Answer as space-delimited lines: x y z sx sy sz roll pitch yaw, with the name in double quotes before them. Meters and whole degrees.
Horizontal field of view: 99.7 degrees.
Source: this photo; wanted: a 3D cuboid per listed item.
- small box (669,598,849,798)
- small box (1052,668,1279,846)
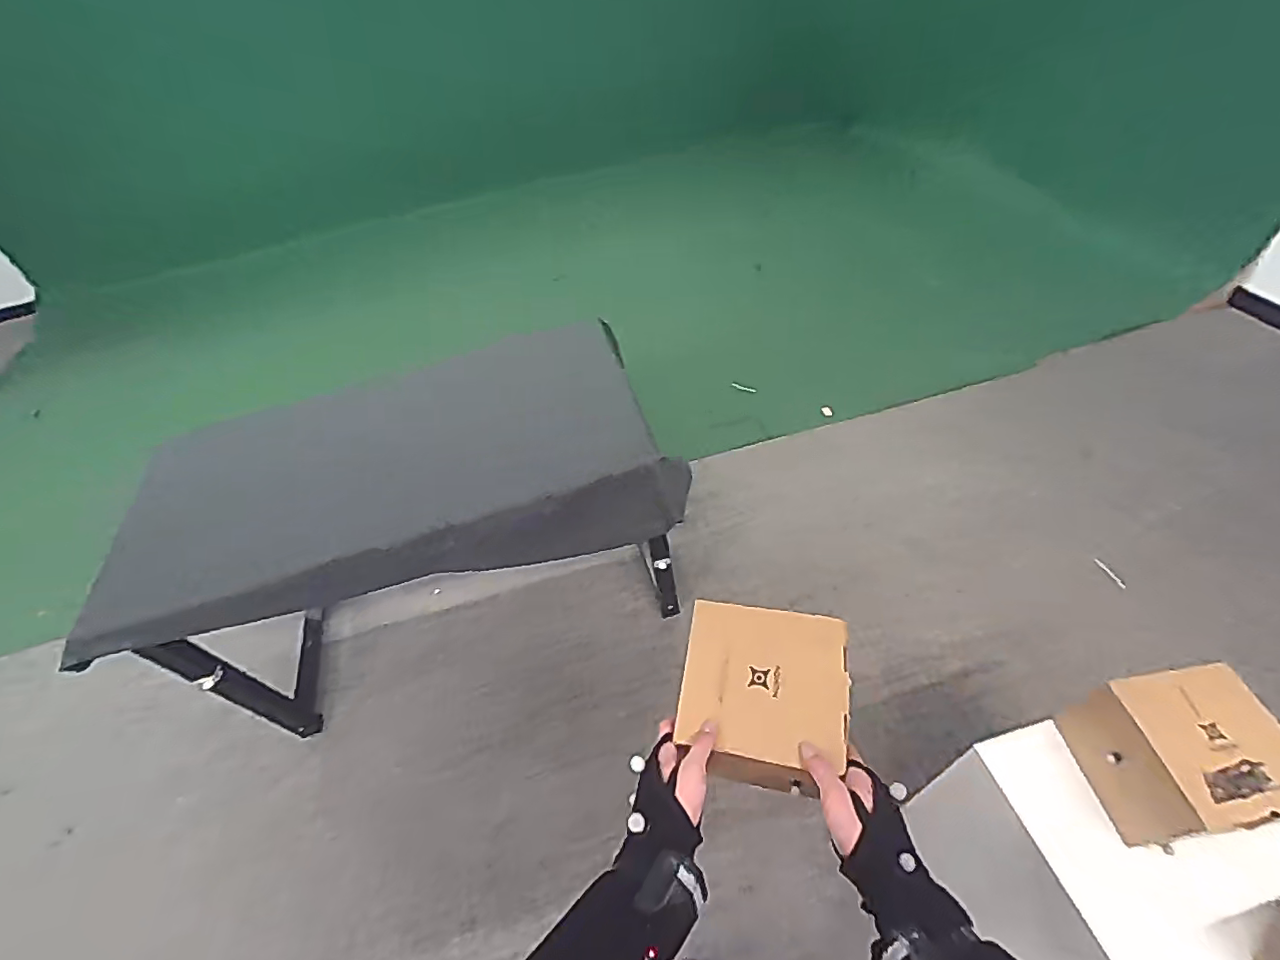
"small box" 0.140 0.260 0.640 0.179 0.176 0.168 3 51 14
"small box" 0.724 0.382 0.736 0.168 0.176 0.179 -8 48 -1
